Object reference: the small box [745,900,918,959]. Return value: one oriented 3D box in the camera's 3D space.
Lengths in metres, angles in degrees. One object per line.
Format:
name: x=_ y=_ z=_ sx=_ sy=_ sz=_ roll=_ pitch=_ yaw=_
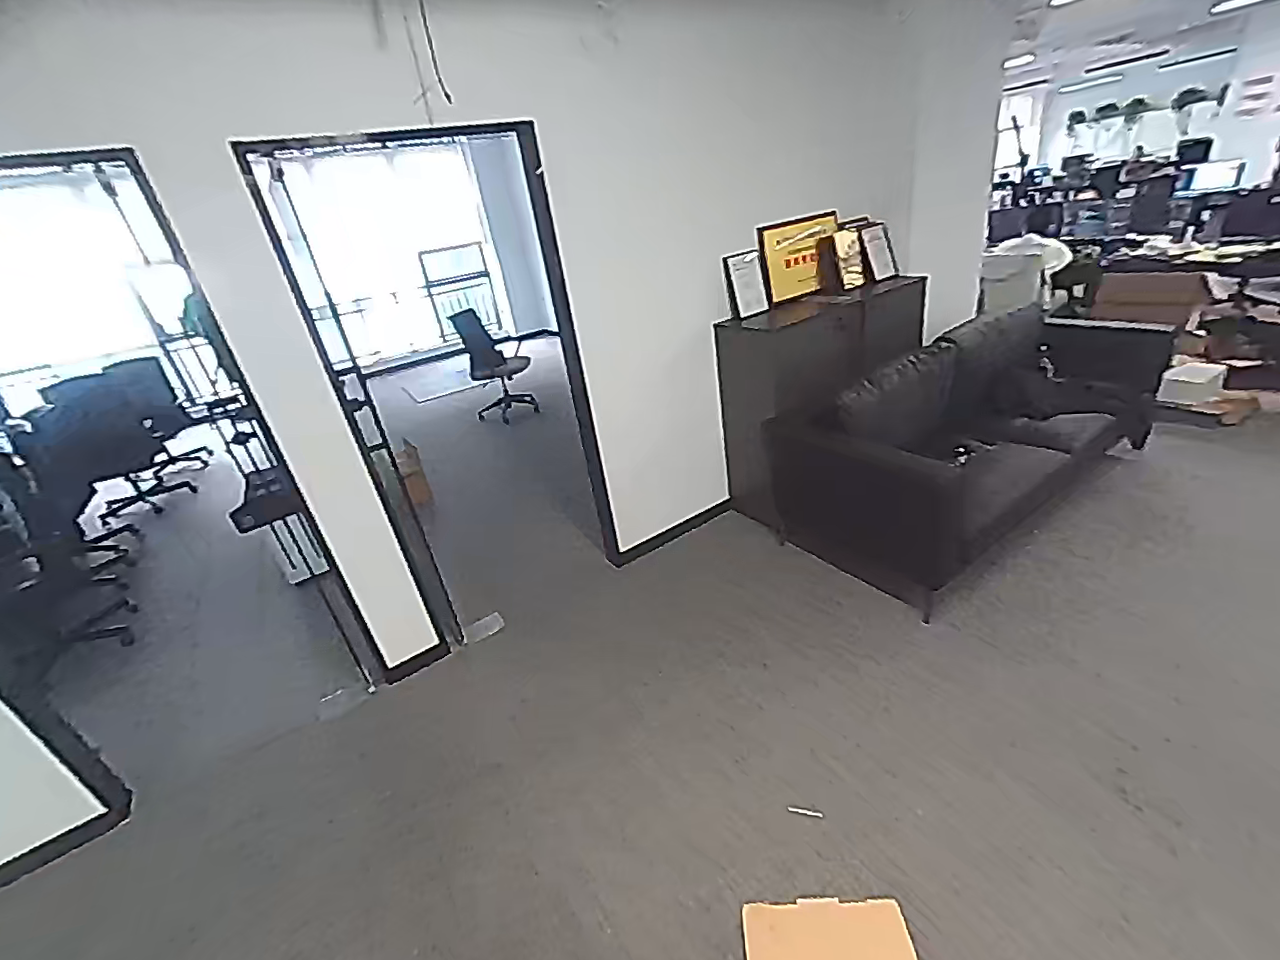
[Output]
small box: x=0.196 y=0.559 z=0.532 sx=0.168 sy=0.176 sz=0.179 roll=-5 pitch=25 yaw=5
